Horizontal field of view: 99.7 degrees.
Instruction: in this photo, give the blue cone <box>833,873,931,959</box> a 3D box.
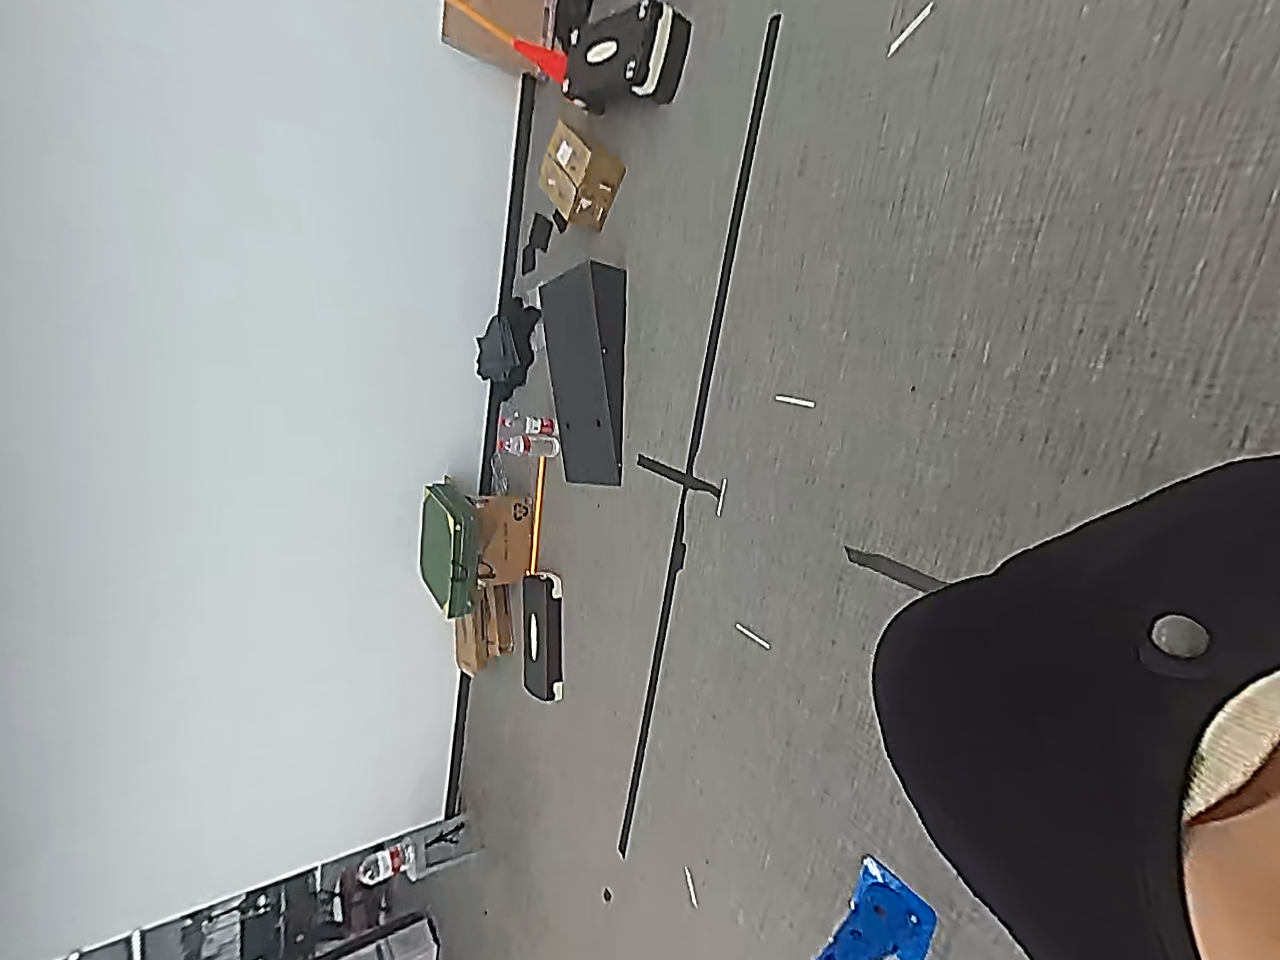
[{"bbox_3d":[0.535,1.178,1.339,0.193,0.380,0.192,26,112,50],"label":"blue cone"}]
